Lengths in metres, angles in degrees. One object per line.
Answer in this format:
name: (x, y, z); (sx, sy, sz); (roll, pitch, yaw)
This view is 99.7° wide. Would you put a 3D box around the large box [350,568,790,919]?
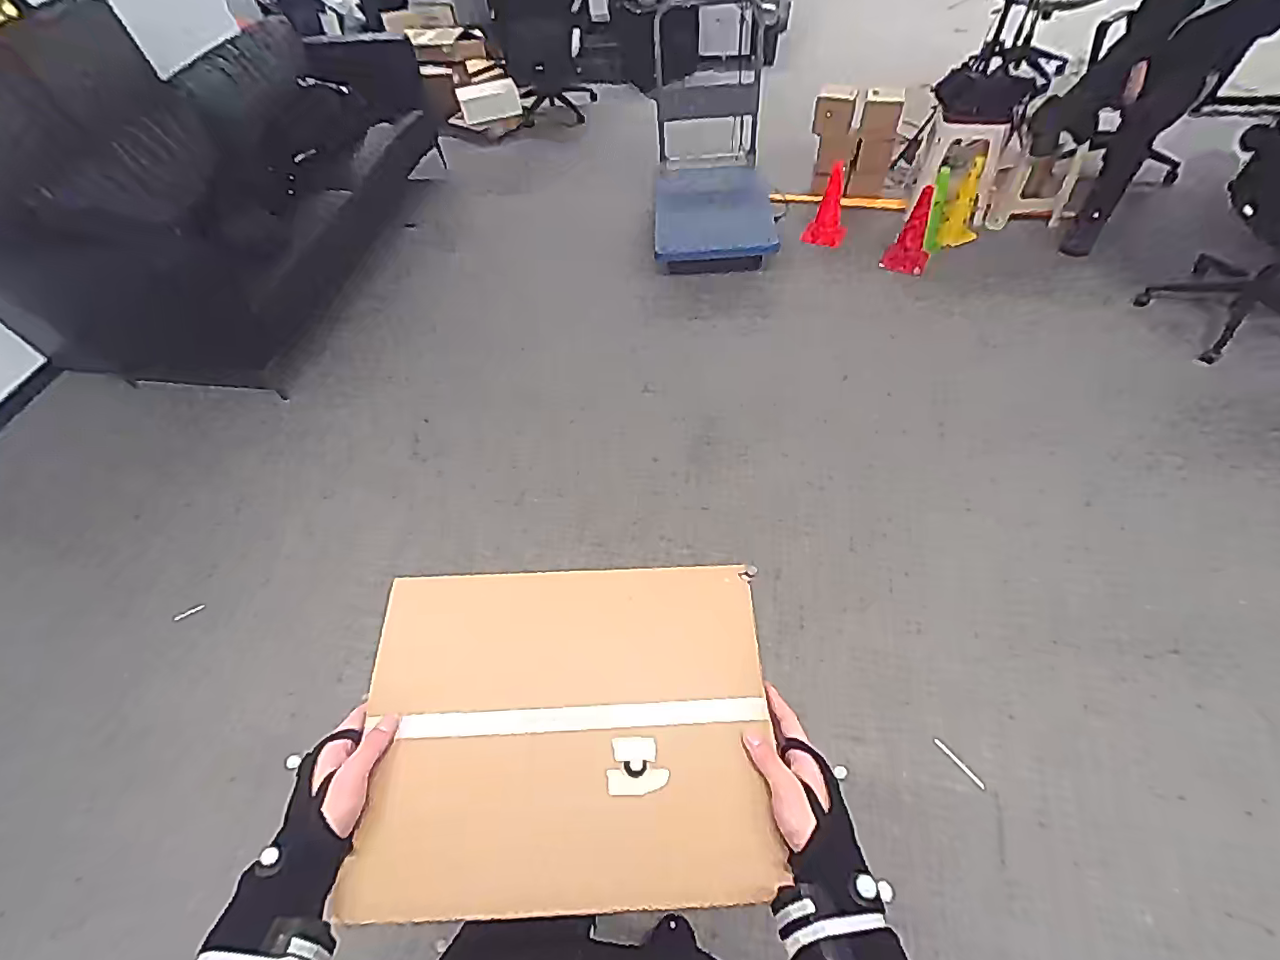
large box: (-0.071, 0.321, 0.685); (0.408, 0.320, 0.320); (-2, 60, -2)
